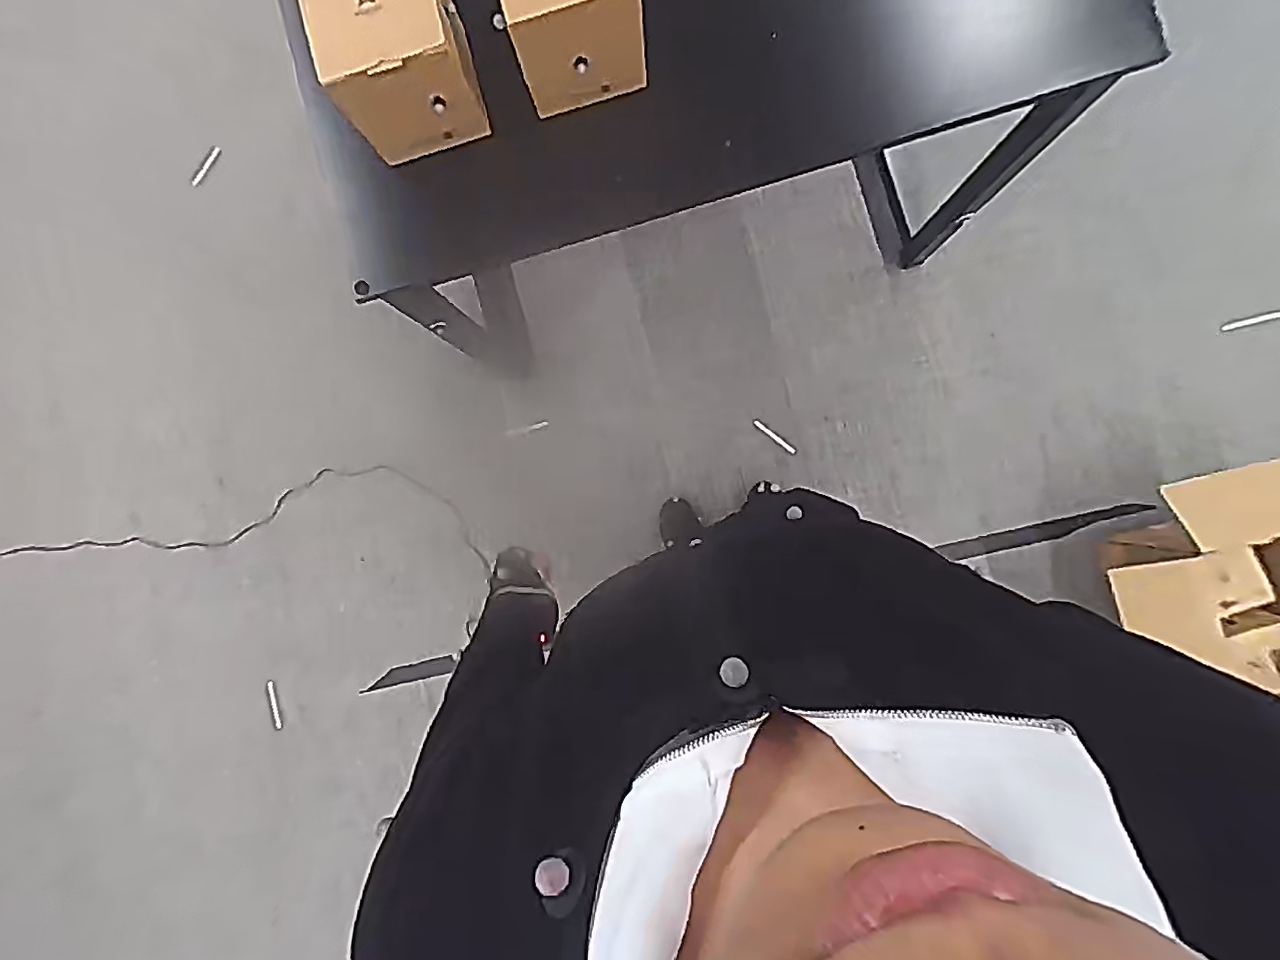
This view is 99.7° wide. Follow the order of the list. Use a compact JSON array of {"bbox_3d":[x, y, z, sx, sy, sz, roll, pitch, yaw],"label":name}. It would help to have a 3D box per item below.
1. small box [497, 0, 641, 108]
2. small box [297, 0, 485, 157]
[{"bbox_3d":[-0.099,-0.640,0.722,0.168,0.176,0.179,-15,88,3],"label":"small box"},{"bbox_3d":[-0.331,-0.579,0.739,0.168,0.176,0.179,-16,86,2],"label":"small box"}]
